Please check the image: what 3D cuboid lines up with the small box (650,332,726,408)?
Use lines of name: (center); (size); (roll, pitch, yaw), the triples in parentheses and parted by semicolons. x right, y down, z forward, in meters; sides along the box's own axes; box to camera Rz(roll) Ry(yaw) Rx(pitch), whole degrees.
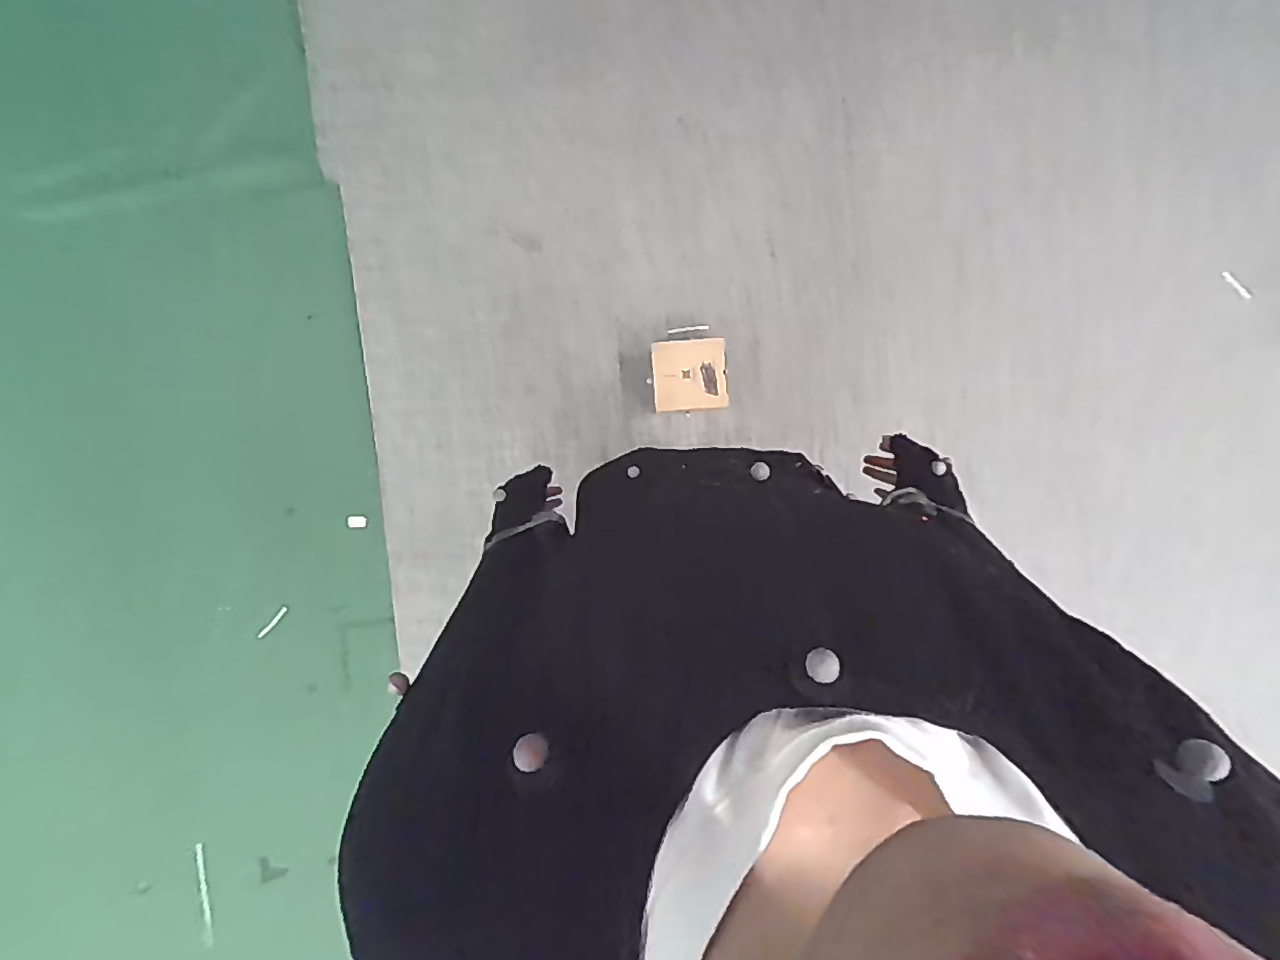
small box: (0.117, -0.273, 1.365); (0.179, 0.176, 0.168); (-4, 93, 3)
